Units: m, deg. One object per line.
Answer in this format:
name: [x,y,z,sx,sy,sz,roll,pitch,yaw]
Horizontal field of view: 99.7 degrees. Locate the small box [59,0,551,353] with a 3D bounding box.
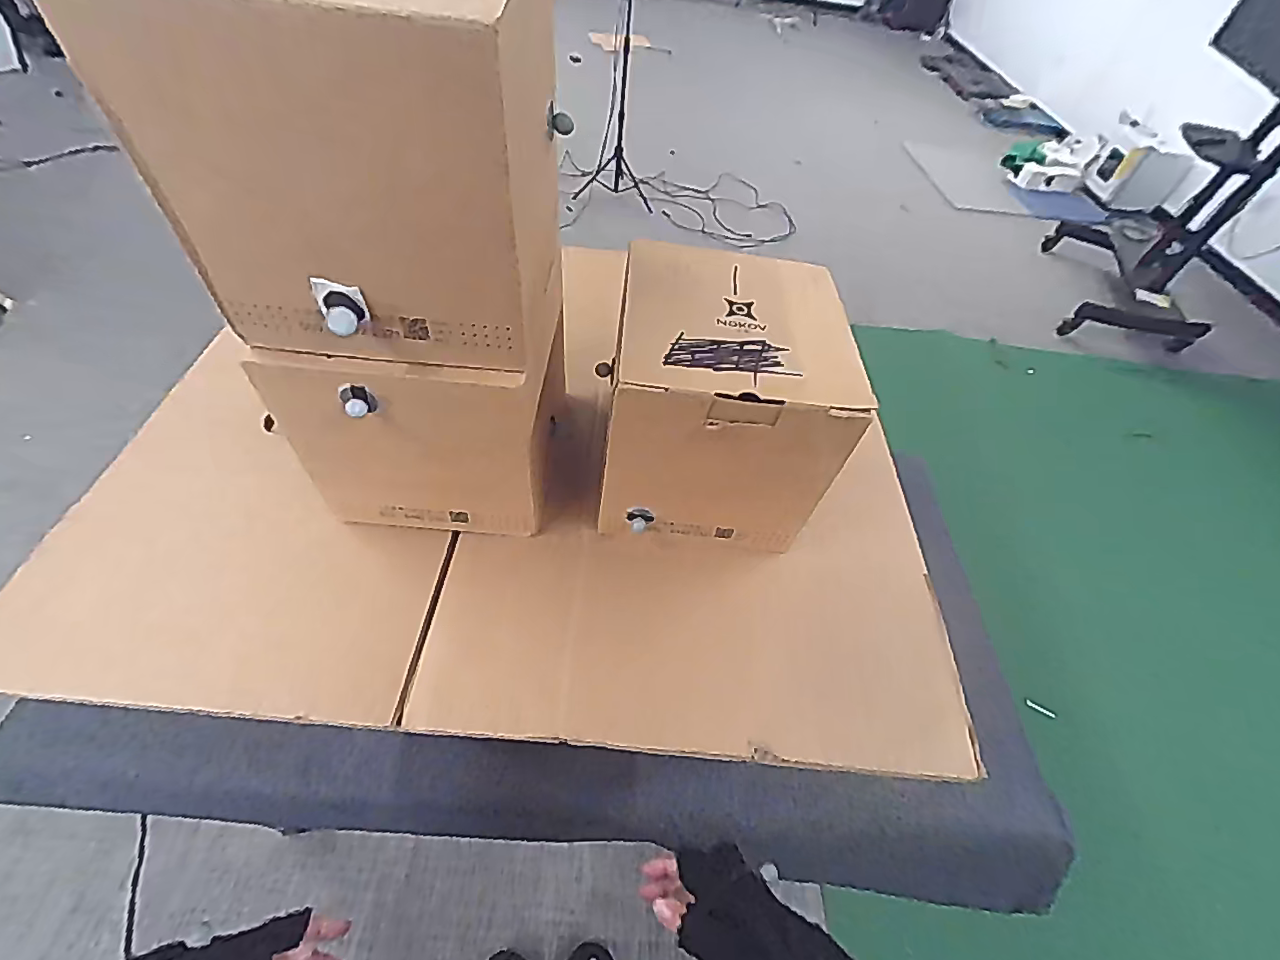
small box: [-0.140,-0.196,0.298,0.168,0.176,0.179,3,53,-4]

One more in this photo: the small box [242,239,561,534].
small box: [-0.156,-0.080,0.433,0.168,0.176,0.179,5,51,-1]
